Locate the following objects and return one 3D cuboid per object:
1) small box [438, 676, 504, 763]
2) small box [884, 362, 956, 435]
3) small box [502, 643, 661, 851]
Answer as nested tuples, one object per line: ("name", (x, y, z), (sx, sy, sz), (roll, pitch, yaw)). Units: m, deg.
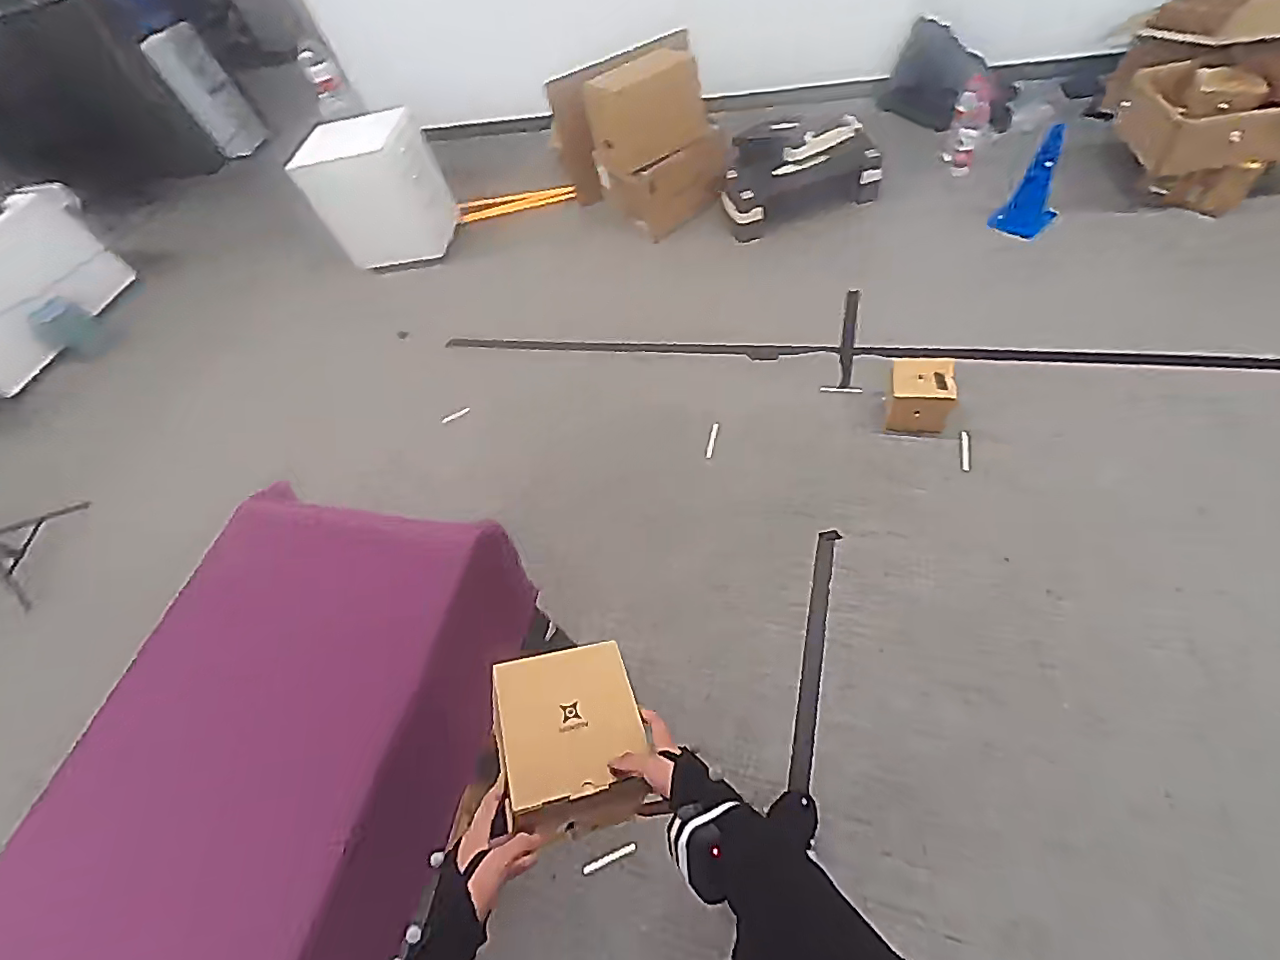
("small box", (-0.431, 0.661, 1.483), (0.179, 0.176, 0.168), (-19, 55, 2))
("small box", (0.900, -0.261, 1.749), (0.179, 0.176, 0.168), (4, 59, 17))
("small box", (-0.089, 0.343, 0.705), (0.168, 0.176, 0.179), (-5, 45, -18))
